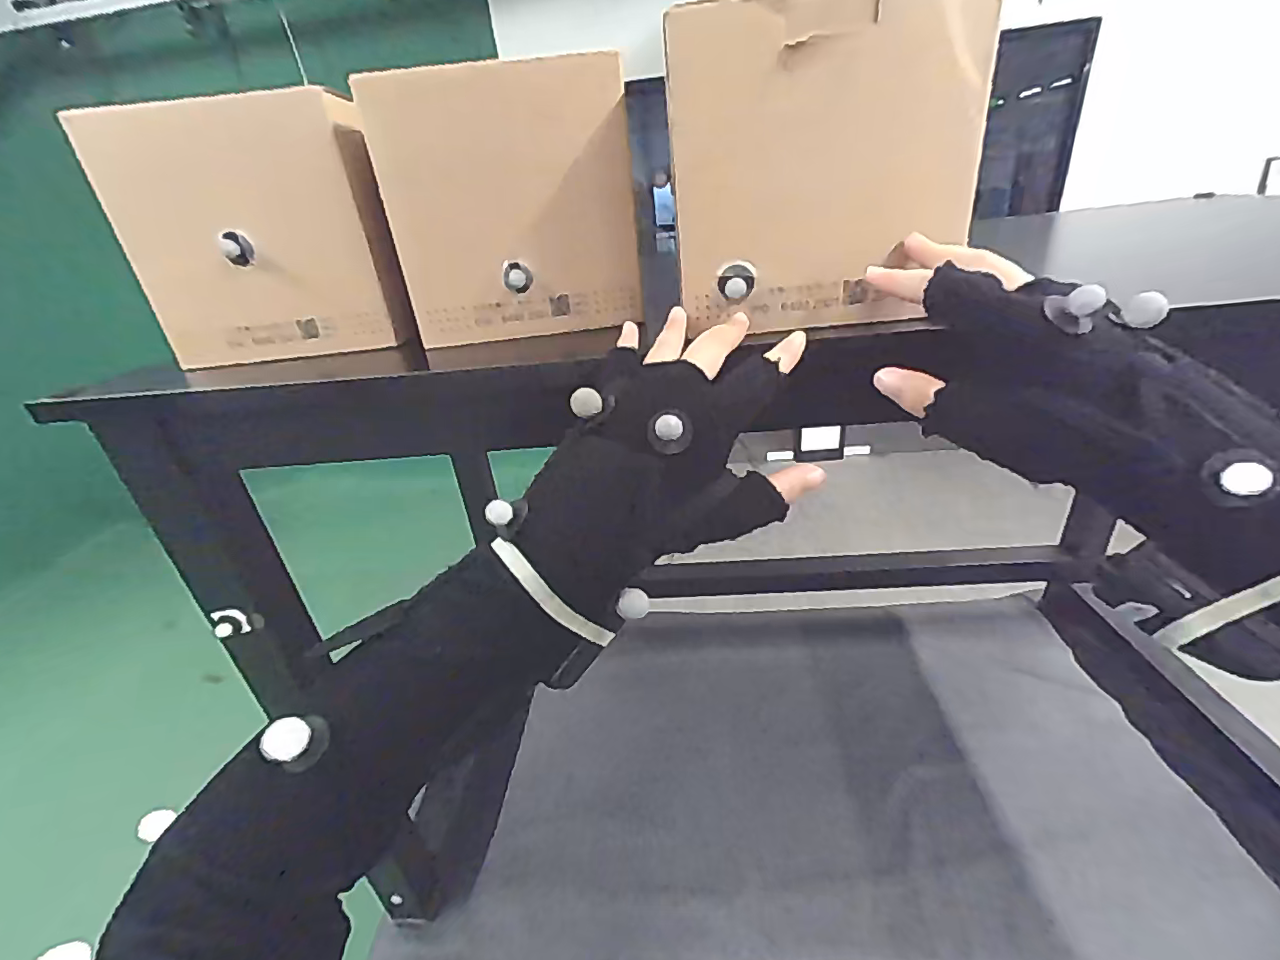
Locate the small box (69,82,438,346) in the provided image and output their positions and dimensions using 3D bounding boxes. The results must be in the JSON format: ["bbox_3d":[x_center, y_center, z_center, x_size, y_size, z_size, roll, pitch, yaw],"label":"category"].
[{"bbox_3d":[-0.291,-0.215,0.463,0.168,0.176,0.179,-5,26,-1],"label":"small box"}]

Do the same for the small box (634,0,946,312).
[{"bbox_3d":[0.093,-0.219,0.383,0.168,0.176,0.179,-4,26,6],"label":"small box"}]
